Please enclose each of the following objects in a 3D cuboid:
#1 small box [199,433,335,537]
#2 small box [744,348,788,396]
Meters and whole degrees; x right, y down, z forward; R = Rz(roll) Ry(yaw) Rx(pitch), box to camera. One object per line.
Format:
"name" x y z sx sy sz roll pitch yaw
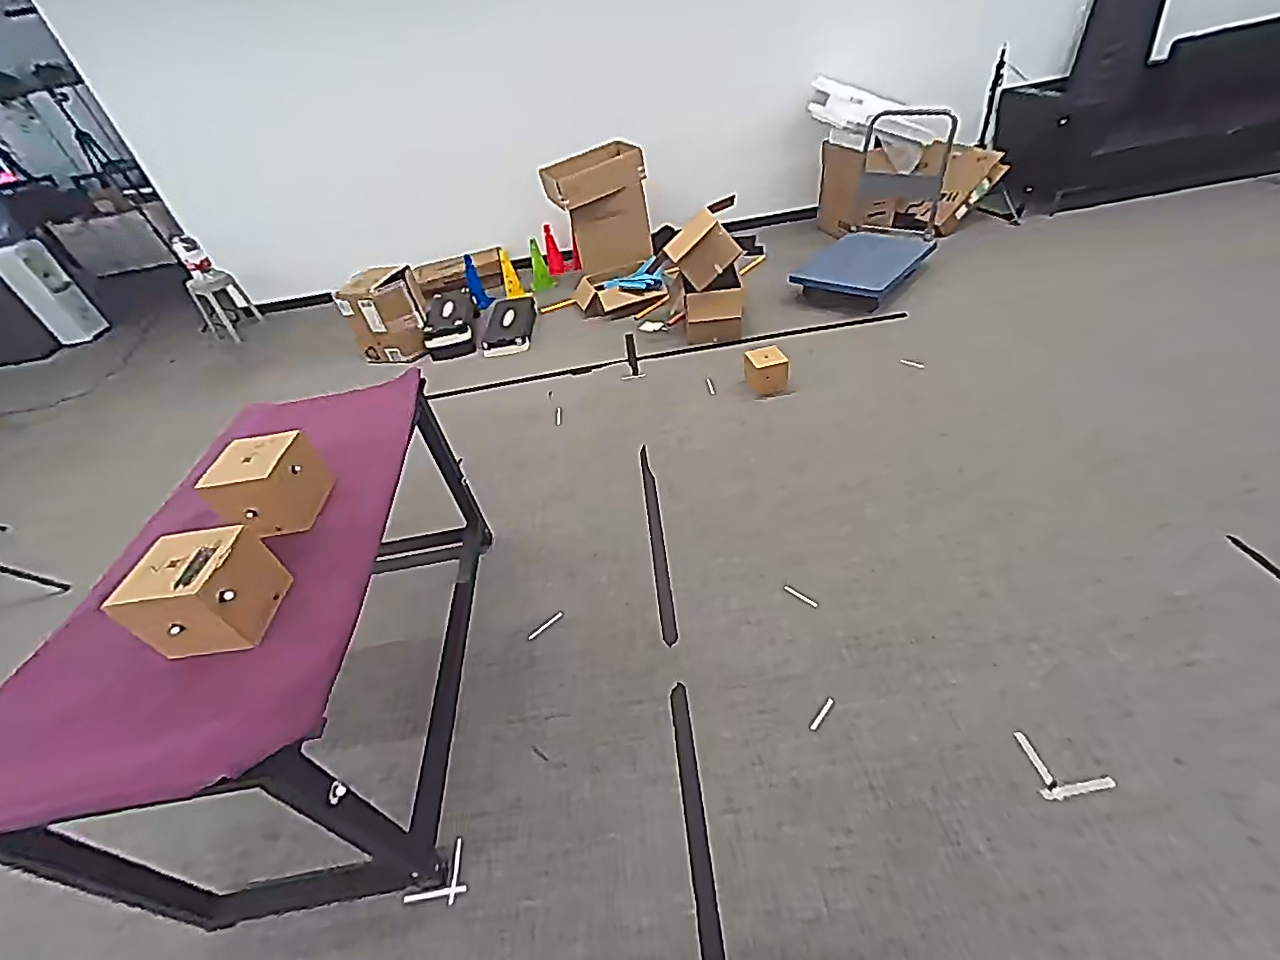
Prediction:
"small box" -0.848 0.018 1.253 0.168 0.176 0.179 -8 40 3
"small box" 0.631 -0.535 2.707 0.168 0.176 0.179 -14 40 -4
